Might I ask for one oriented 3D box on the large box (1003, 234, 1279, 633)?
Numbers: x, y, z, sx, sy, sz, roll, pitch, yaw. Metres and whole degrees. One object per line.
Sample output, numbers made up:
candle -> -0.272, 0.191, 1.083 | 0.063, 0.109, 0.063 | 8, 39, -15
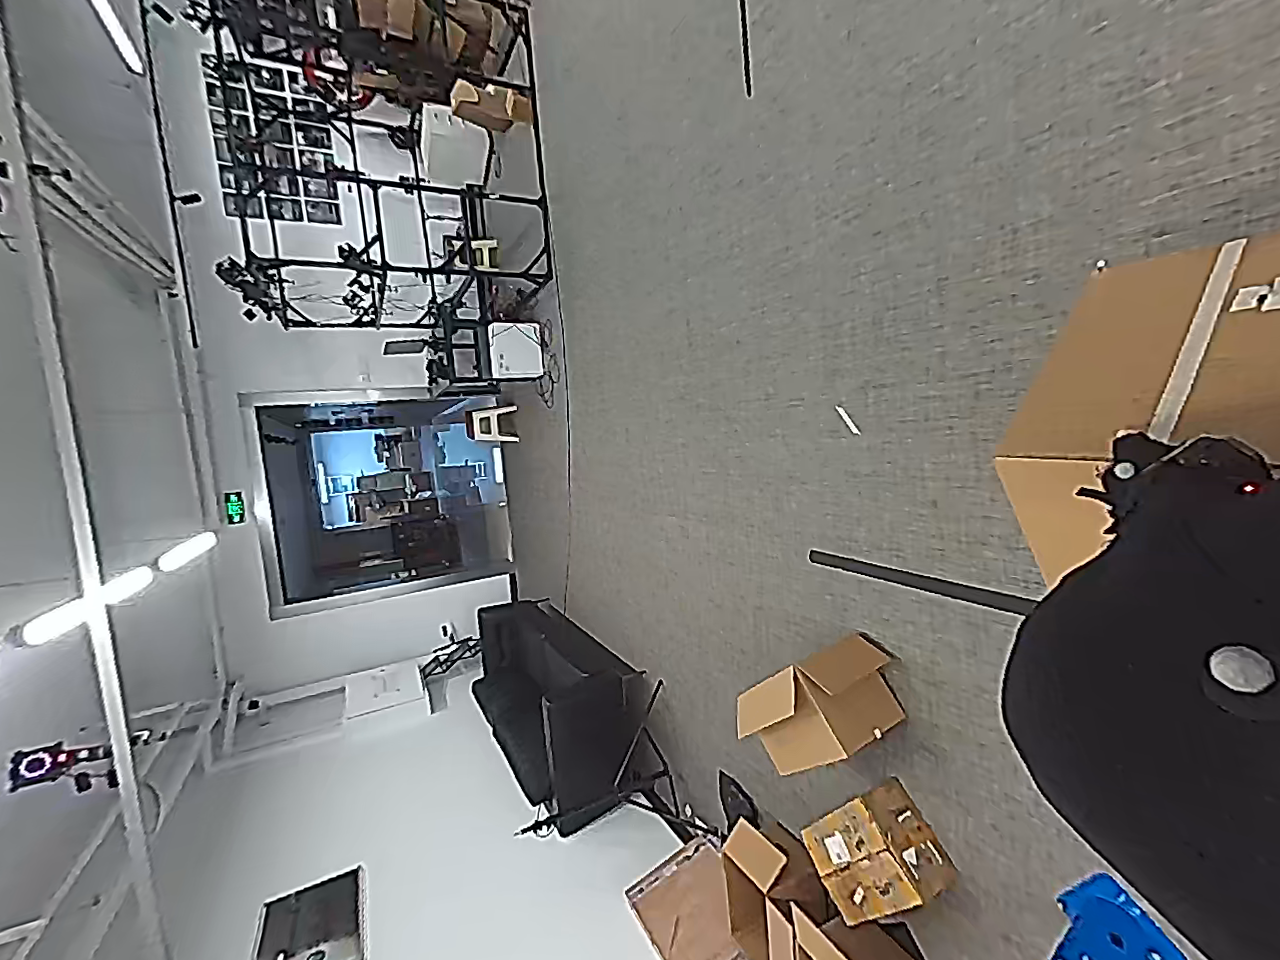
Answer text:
large box -> 0.760, -0.062, 0.714 | 0.320, 0.408, 0.320 | 50, 159, -27
